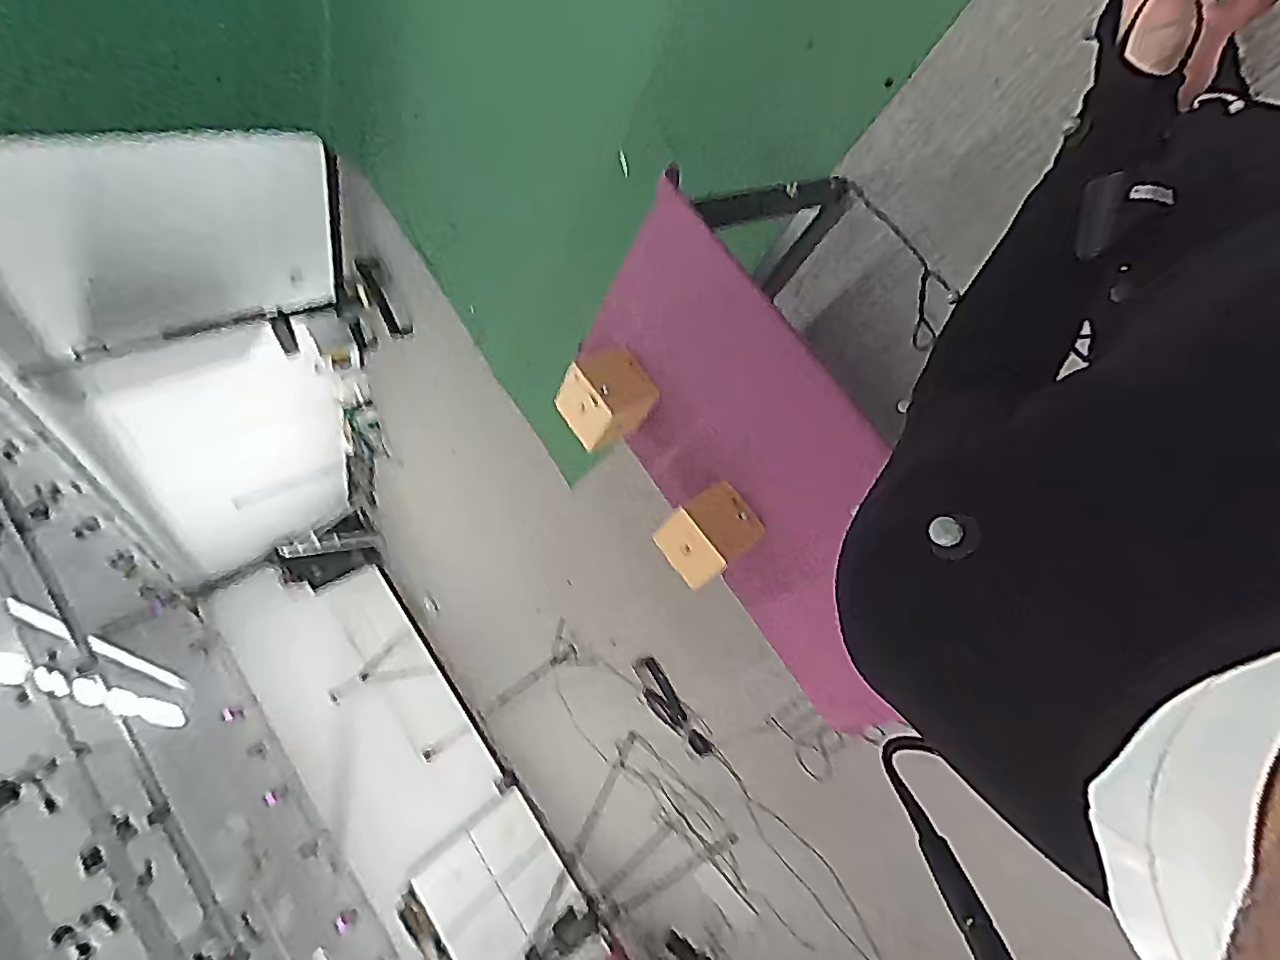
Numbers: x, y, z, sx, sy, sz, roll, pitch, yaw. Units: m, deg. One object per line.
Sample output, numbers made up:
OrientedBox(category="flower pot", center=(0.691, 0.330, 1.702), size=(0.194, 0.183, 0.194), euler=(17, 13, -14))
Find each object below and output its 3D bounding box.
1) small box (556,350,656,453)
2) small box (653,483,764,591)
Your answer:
OrientedBox(category="small box", center=(-0.085, -0.203, 1.384), size=(0.168, 0.176, 0.179), euler=(53, 144, 10))
OrientedBox(category="small box", center=(0.167, 0.136, 1.309), size=(0.168, 0.176, 0.179), euler=(52, 143, 11))
